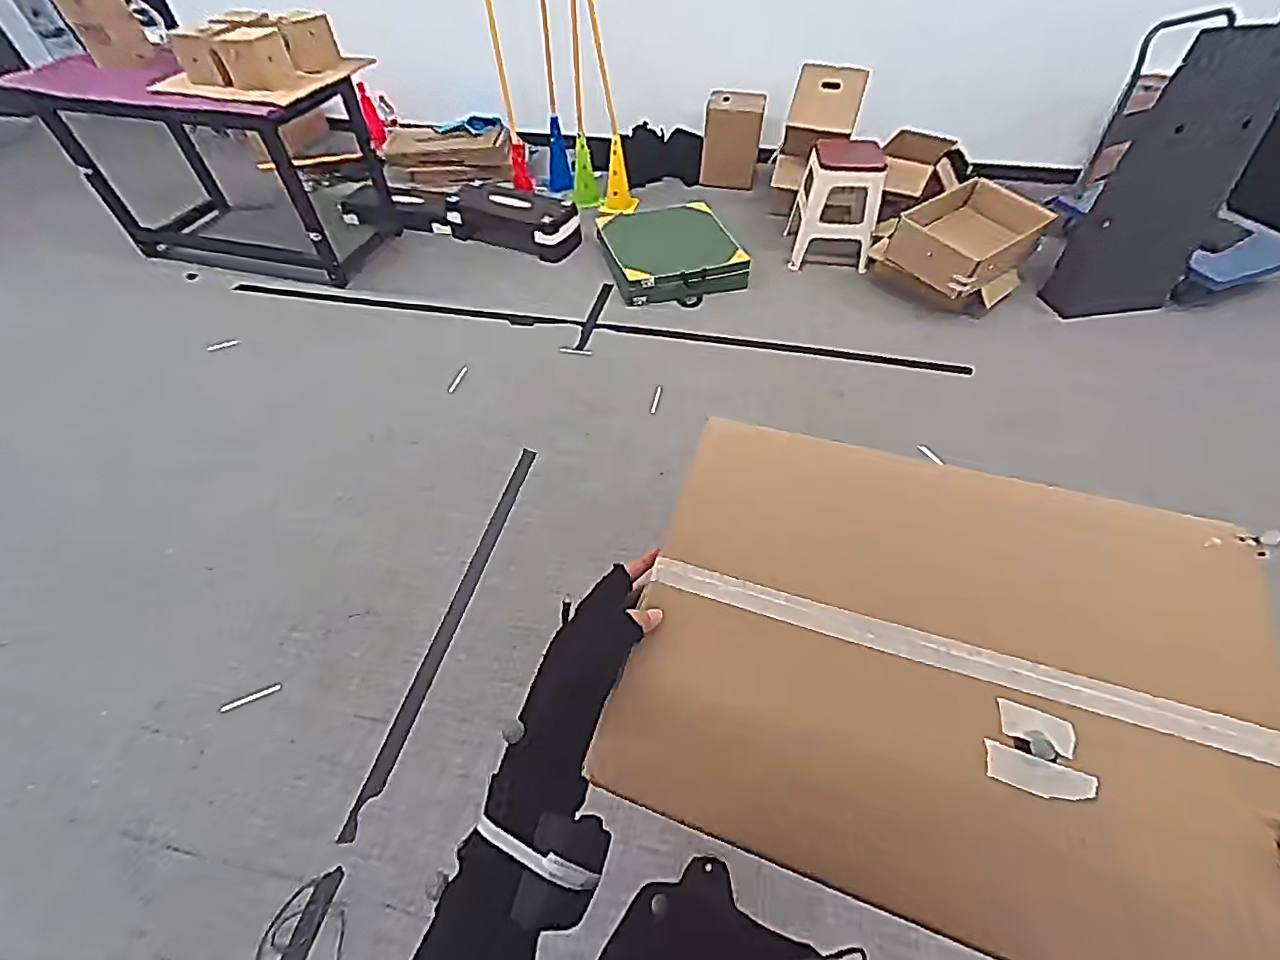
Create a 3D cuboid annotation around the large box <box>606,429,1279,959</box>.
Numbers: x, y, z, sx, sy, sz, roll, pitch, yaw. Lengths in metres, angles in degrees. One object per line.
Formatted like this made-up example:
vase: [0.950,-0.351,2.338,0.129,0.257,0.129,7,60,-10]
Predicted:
large box: [0.225,0.195,0.520,0.408,0.320,0.320,15,64,16]
